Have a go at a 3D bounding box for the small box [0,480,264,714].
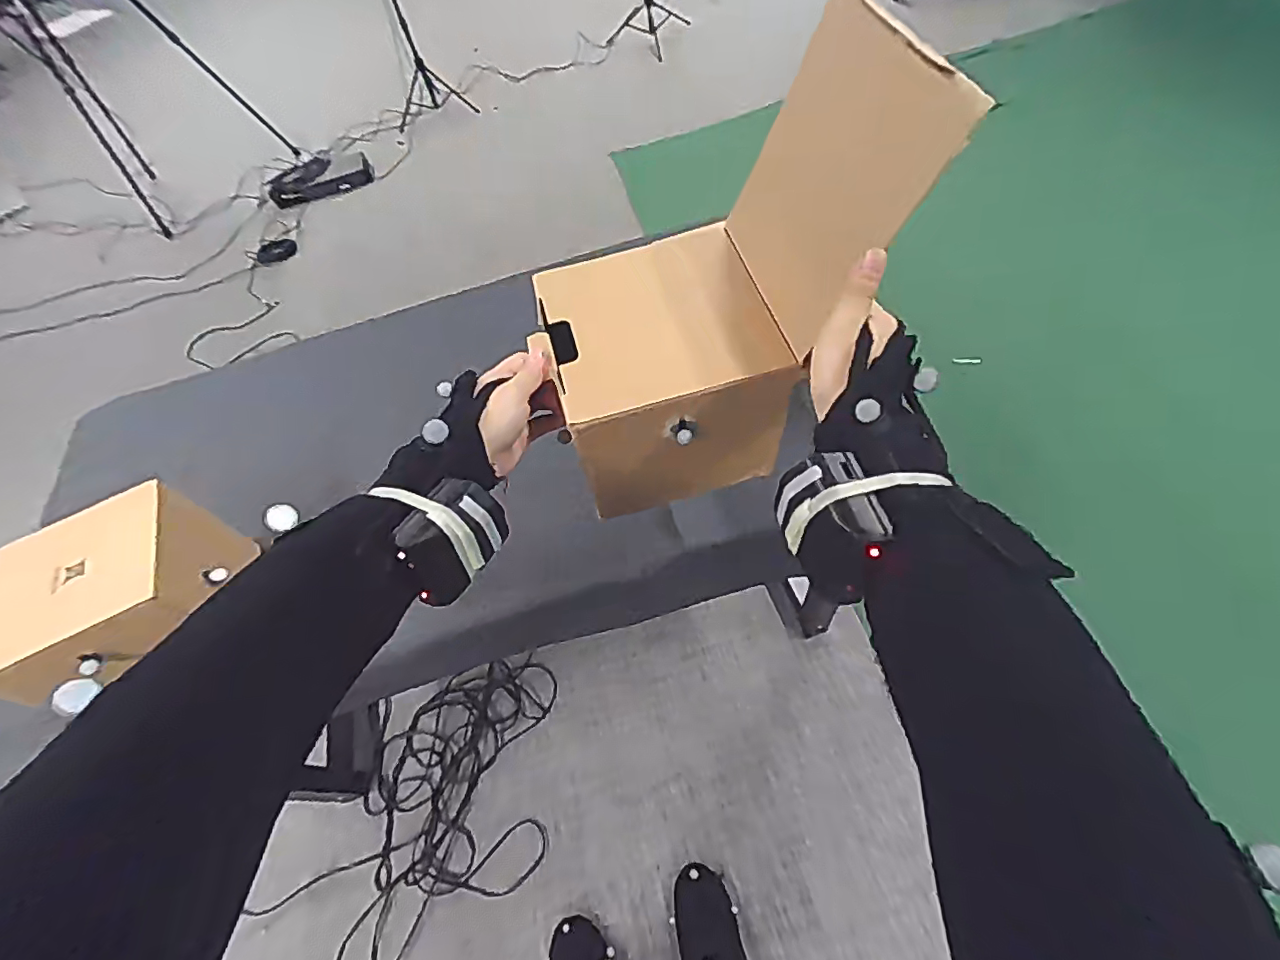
[{"bbox_3d":[-0.563,0.137,0.614,0.179,0.176,0.168,-28,56,-9],"label":"small box"}]
